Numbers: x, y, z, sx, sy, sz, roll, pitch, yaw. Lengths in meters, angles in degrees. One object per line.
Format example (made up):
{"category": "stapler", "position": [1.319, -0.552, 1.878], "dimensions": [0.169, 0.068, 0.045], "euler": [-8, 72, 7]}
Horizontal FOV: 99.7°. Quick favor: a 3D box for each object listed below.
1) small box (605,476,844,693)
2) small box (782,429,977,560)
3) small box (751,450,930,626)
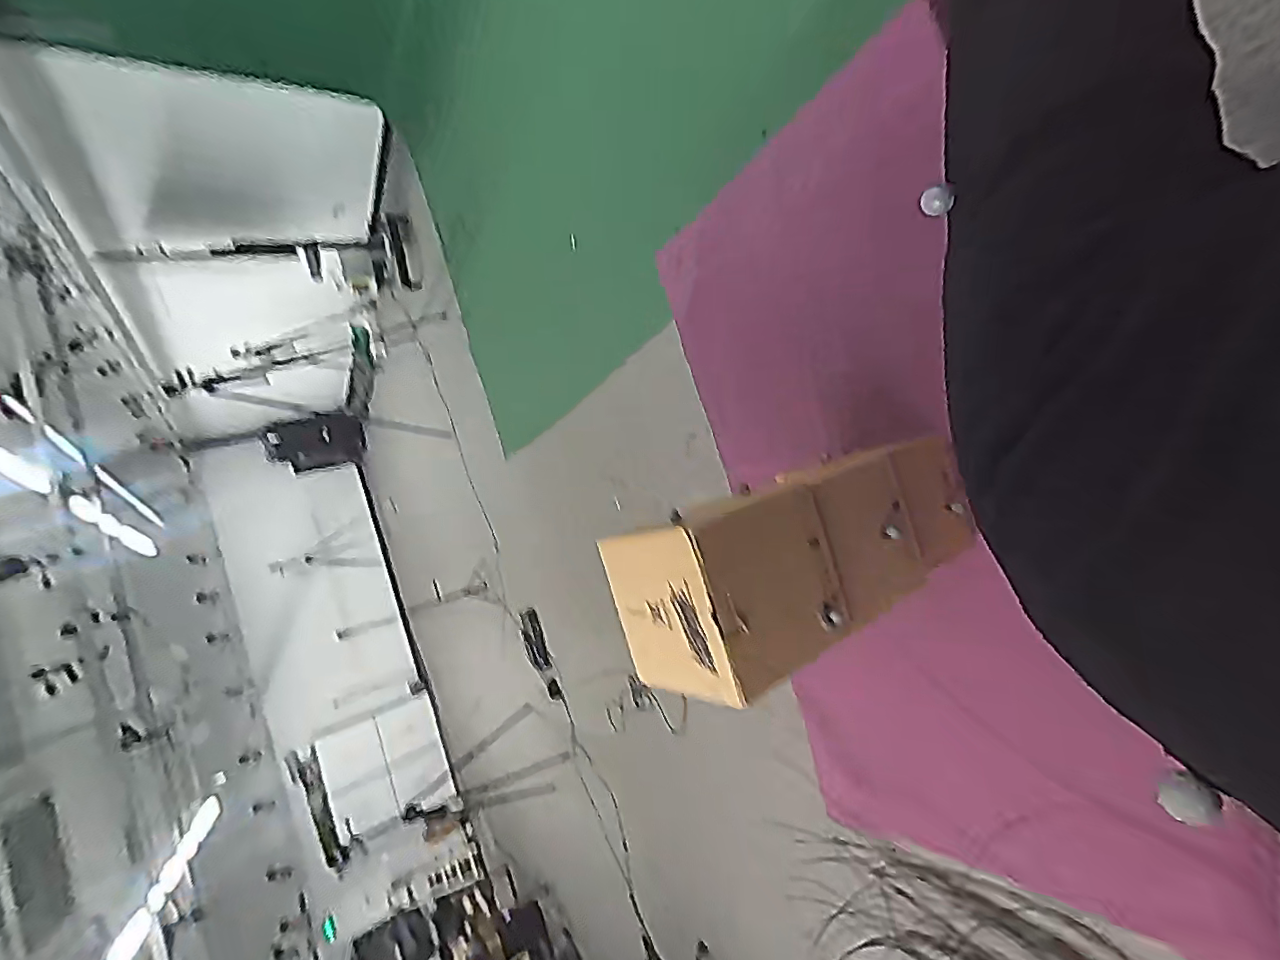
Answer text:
{"category": "small box", "position": [0.093, 0.102, 0.582], "dimensions": [0.179, 0.176, 0.168], "euler": [-18, 88, 57]}
{"category": "small box", "position": [0.344, 0.033, 0.784], "dimensions": [0.179, 0.176, 0.168], "euler": [-16, 90, 56]}
{"category": "small box", "position": [0.222, 0.071, 0.680], "dimensions": [0.179, 0.176, 0.168], "euler": [-19, 88, 56]}
